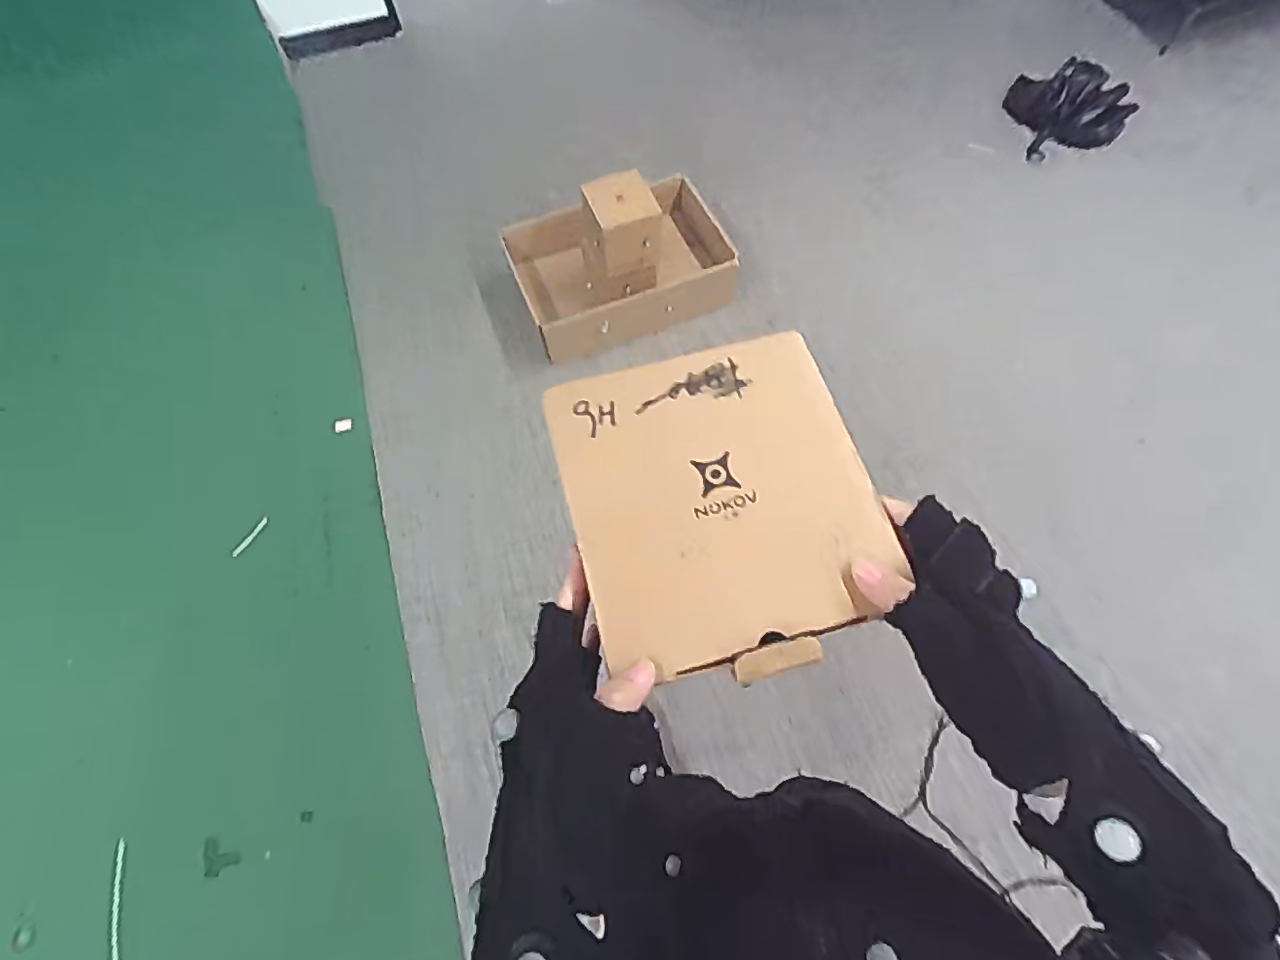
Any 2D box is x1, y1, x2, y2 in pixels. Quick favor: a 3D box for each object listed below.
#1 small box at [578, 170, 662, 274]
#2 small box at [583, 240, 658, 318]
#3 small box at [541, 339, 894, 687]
[{"bbox_3d":[-0.050,-0.681,1.450,0.168,0.176,0.179,-25,69,-10],"label":"small box"},{"bbox_3d":[-0.056,-0.618,1.616,0.179,0.176,0.168,-21,67,-6],"label":"small box"},{"bbox_3d":[0.038,0.033,0.386,0.168,0.176,0.179,-15,72,-6],"label":"small box"}]
